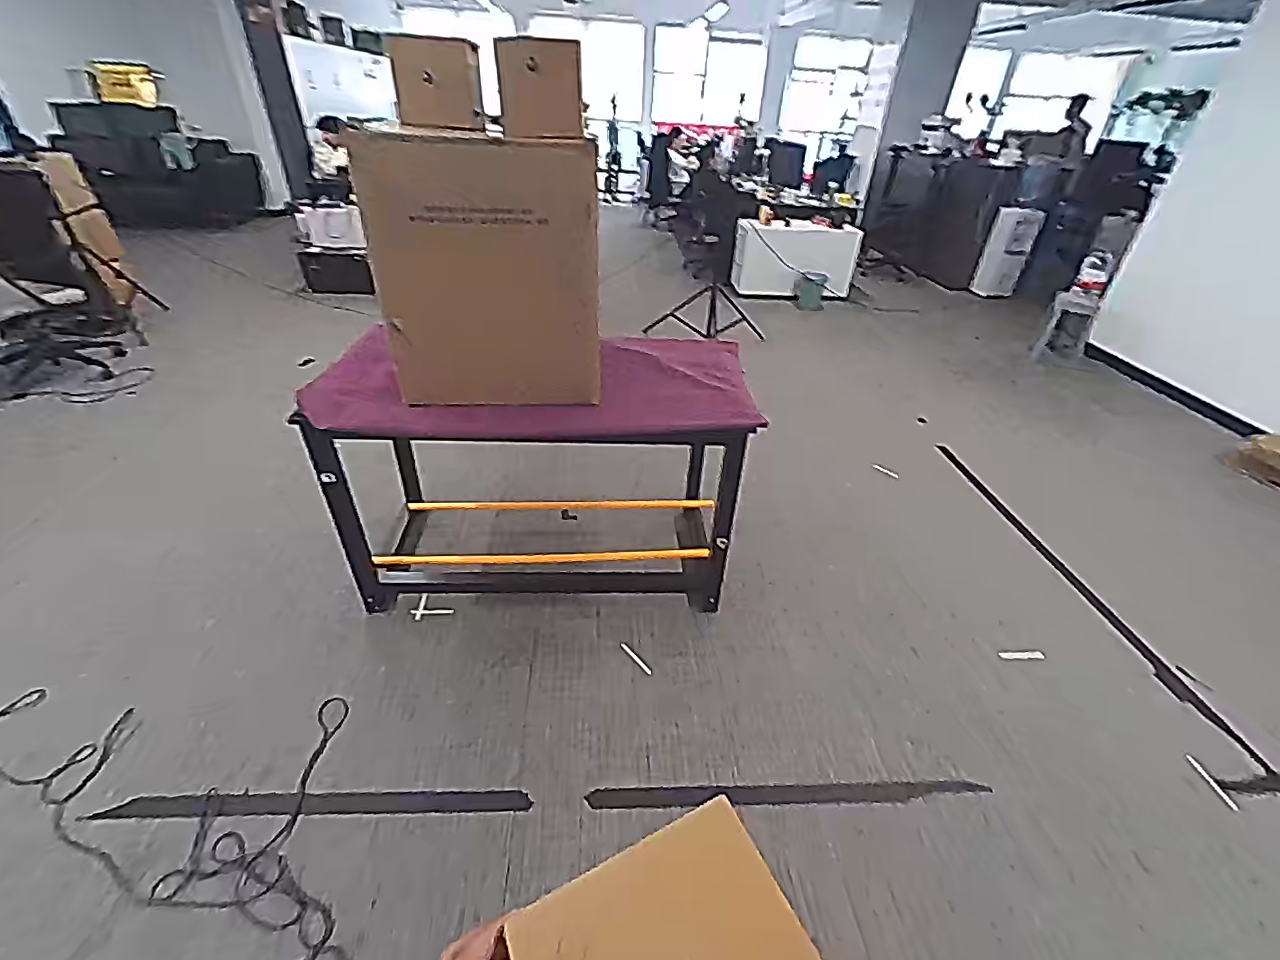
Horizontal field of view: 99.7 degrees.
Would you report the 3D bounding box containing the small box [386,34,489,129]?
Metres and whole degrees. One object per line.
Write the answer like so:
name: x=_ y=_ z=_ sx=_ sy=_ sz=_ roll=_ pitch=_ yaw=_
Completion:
small box: x=-0.464 y=-0.930 z=1.273 sx=0.179 sy=0.176 sz=0.168 roll=1 pitch=33 yaw=-1
